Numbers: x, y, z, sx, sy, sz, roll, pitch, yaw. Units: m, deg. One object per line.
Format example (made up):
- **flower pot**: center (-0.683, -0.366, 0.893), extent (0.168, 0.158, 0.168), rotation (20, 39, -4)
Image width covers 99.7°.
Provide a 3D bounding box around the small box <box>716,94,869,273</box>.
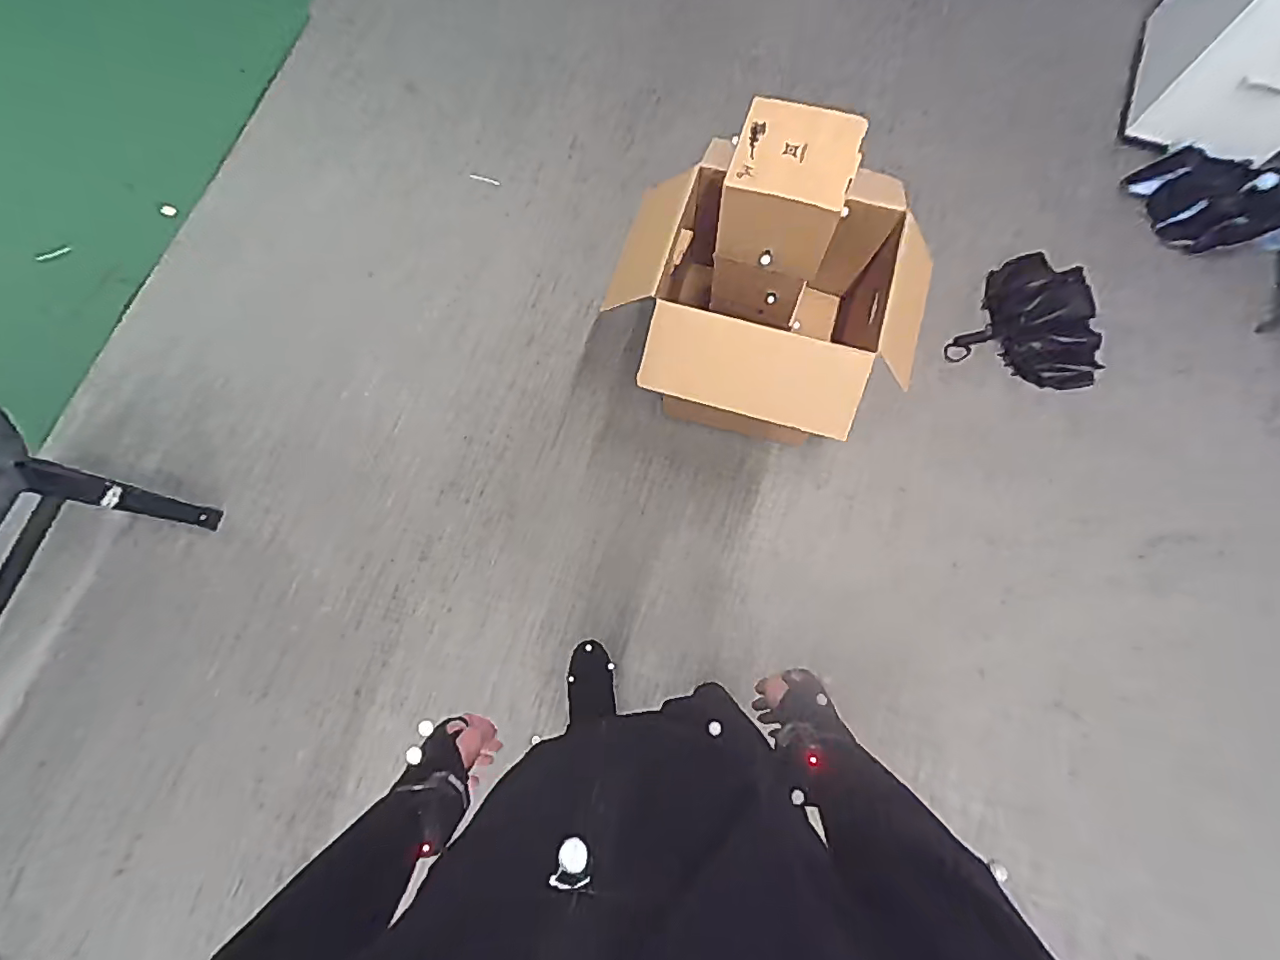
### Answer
- **small box**: center (0.233, -0.460, 0.865), extent (0.179, 0.176, 0.168), rotation (18, 78, 7)
